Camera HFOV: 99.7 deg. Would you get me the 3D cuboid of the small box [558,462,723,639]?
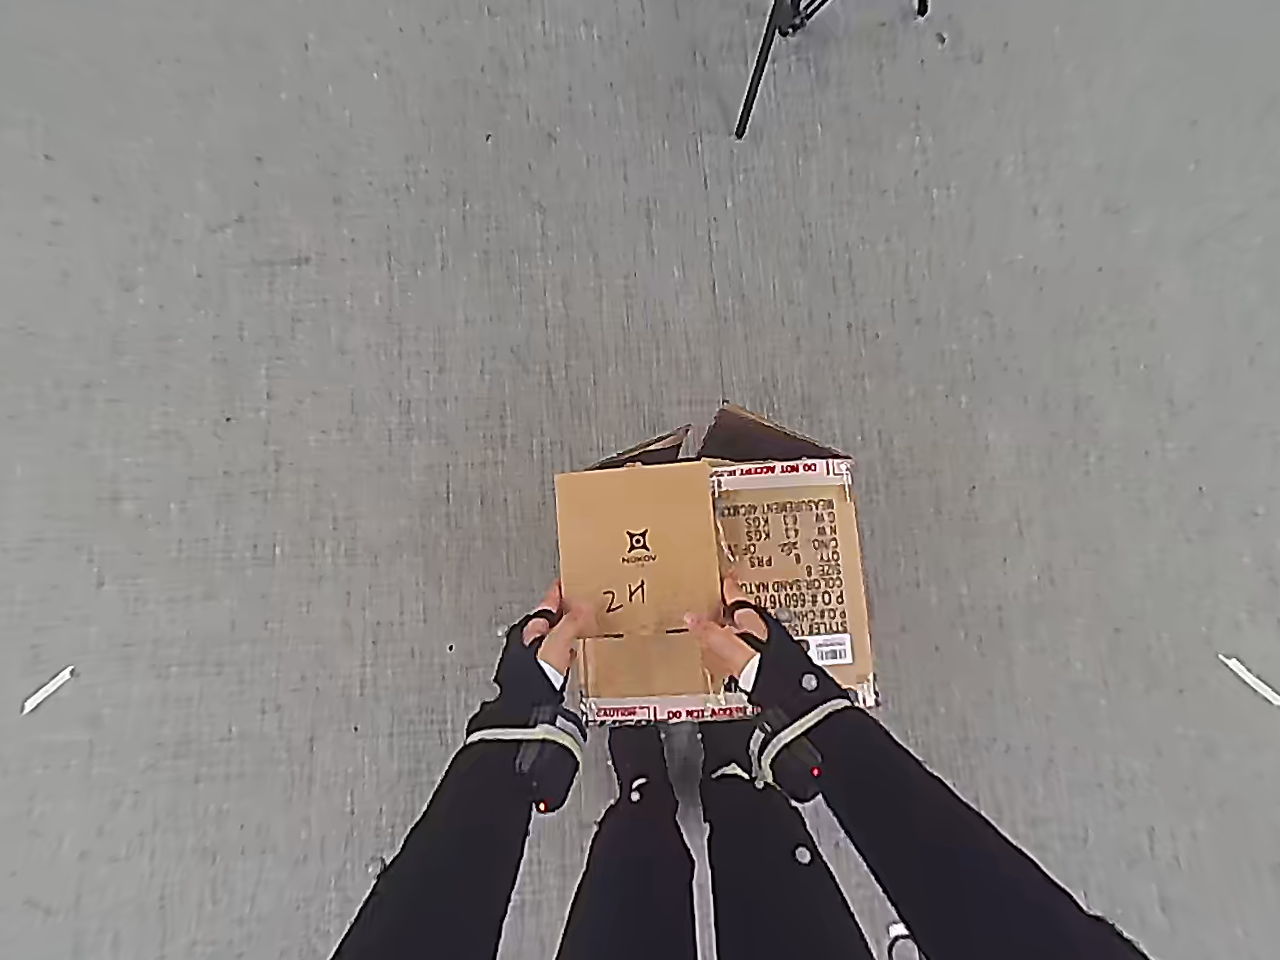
[{"bbox_3d":[0.001,0.081,0.644,0.168,0.176,0.179,-5,85,2],"label":"small box"}]
